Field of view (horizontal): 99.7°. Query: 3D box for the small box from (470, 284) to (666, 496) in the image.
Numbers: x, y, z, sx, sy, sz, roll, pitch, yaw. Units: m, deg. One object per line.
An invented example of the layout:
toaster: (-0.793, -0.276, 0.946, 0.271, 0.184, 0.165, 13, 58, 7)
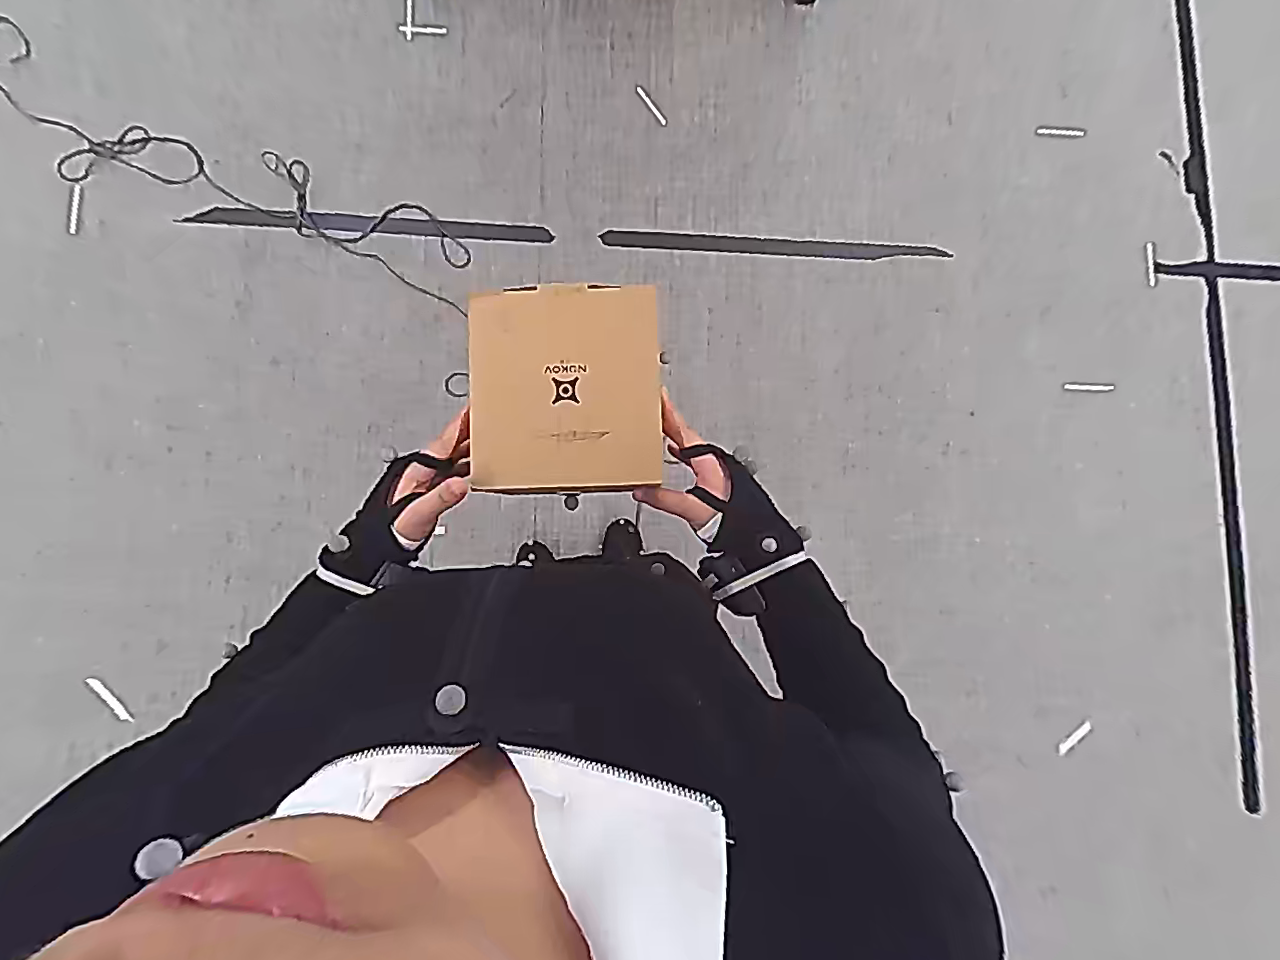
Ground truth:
small box: (-0.062, -0.075, 0.536, 0.168, 0.176, 0.179, -2, 87, 0)
